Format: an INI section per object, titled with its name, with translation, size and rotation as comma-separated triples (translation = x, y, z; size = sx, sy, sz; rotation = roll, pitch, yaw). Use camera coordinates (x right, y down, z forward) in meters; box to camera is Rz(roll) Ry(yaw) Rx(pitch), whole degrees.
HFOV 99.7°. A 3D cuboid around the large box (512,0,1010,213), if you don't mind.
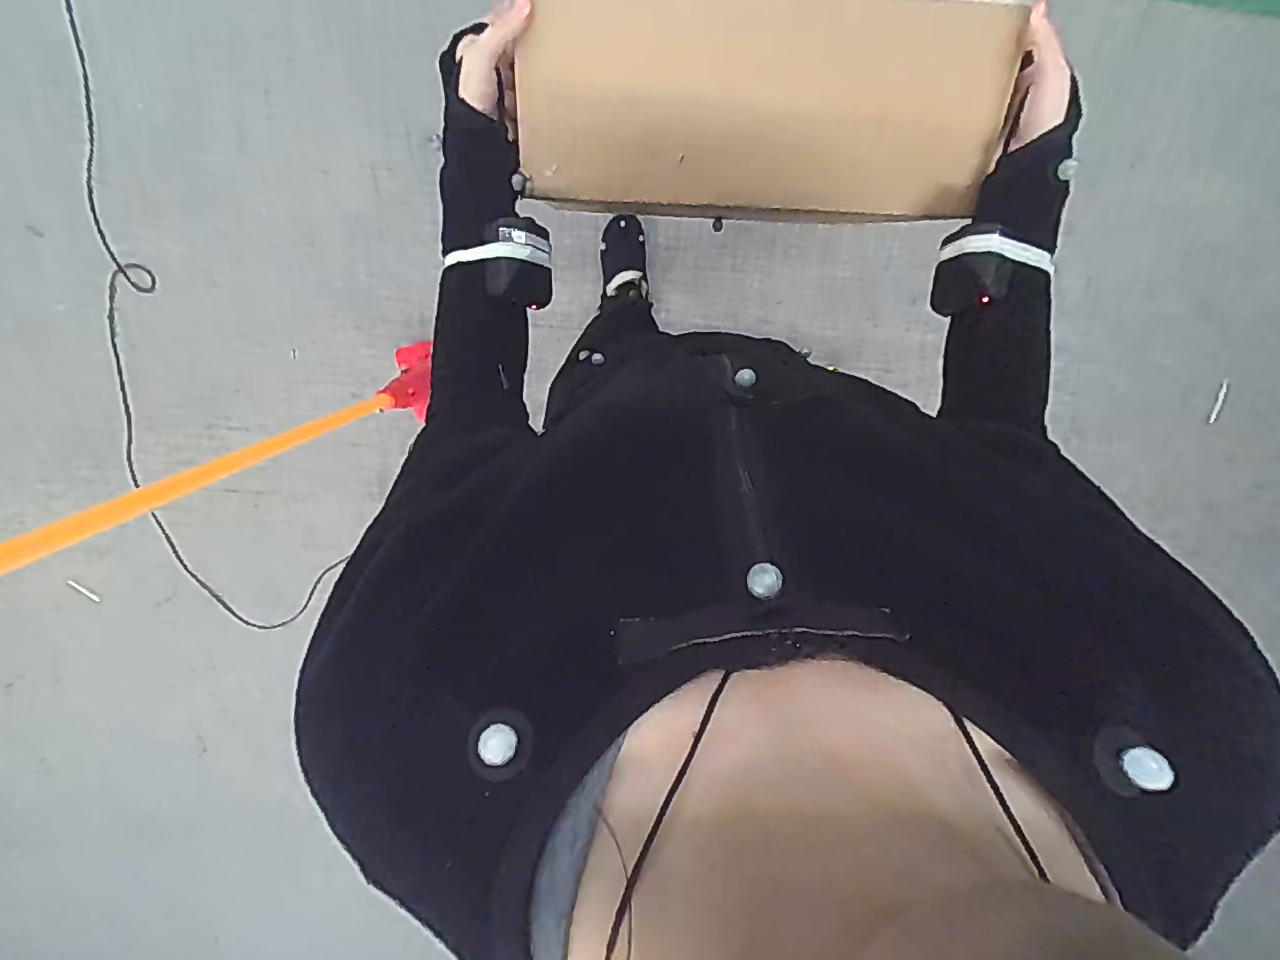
[large box]
translation = 0.094, -0.450, 0.554
size = 0.408, 0.320, 0.320
rotation = 1, 114, -3
